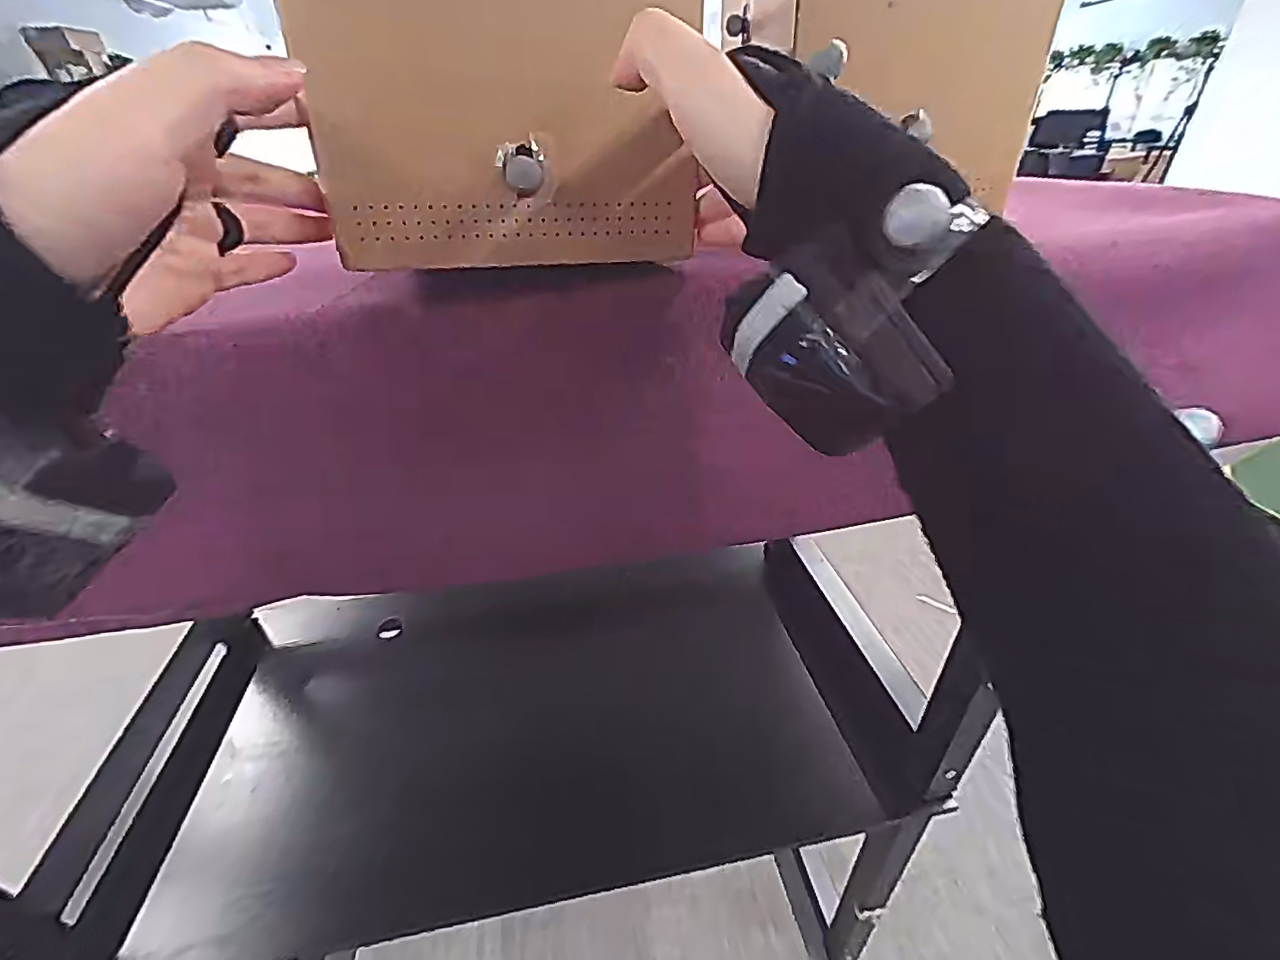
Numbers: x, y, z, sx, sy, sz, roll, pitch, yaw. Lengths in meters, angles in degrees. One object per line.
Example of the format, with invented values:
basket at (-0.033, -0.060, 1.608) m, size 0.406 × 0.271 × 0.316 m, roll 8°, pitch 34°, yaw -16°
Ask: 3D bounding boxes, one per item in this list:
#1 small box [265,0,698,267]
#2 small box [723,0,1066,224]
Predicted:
small box at (-0.075, -0.215, 0.288) m, size 0.179 × 0.176 × 0.168 m, roll -7°, pitch 29°, yaw -13°
small box at (0.160, -0.291, 0.397) m, size 0.168 × 0.176 × 0.179 m, roll -7°, pitch 34°, yaw -4°
